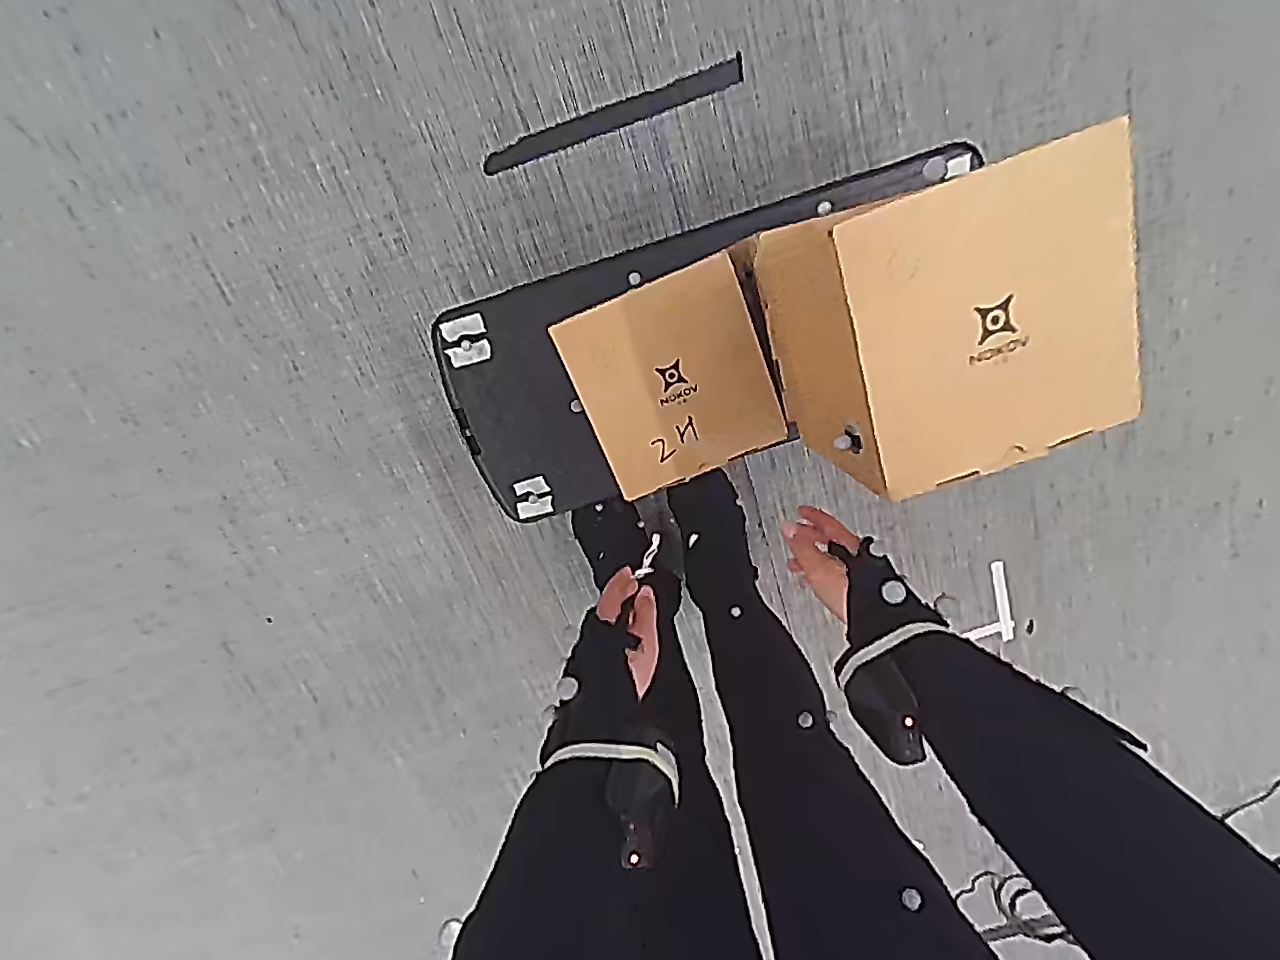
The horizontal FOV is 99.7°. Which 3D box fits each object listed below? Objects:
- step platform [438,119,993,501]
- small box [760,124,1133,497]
[{"bbox_3d":[0.101,-0.206,0.715,0.684,0.204,0.286,-17,108,3],"label":"step platform"},{"bbox_3d":[0.203,-0.115,0.397,0.168,0.176,0.179,-20,109,3],"label":"small box"}]
